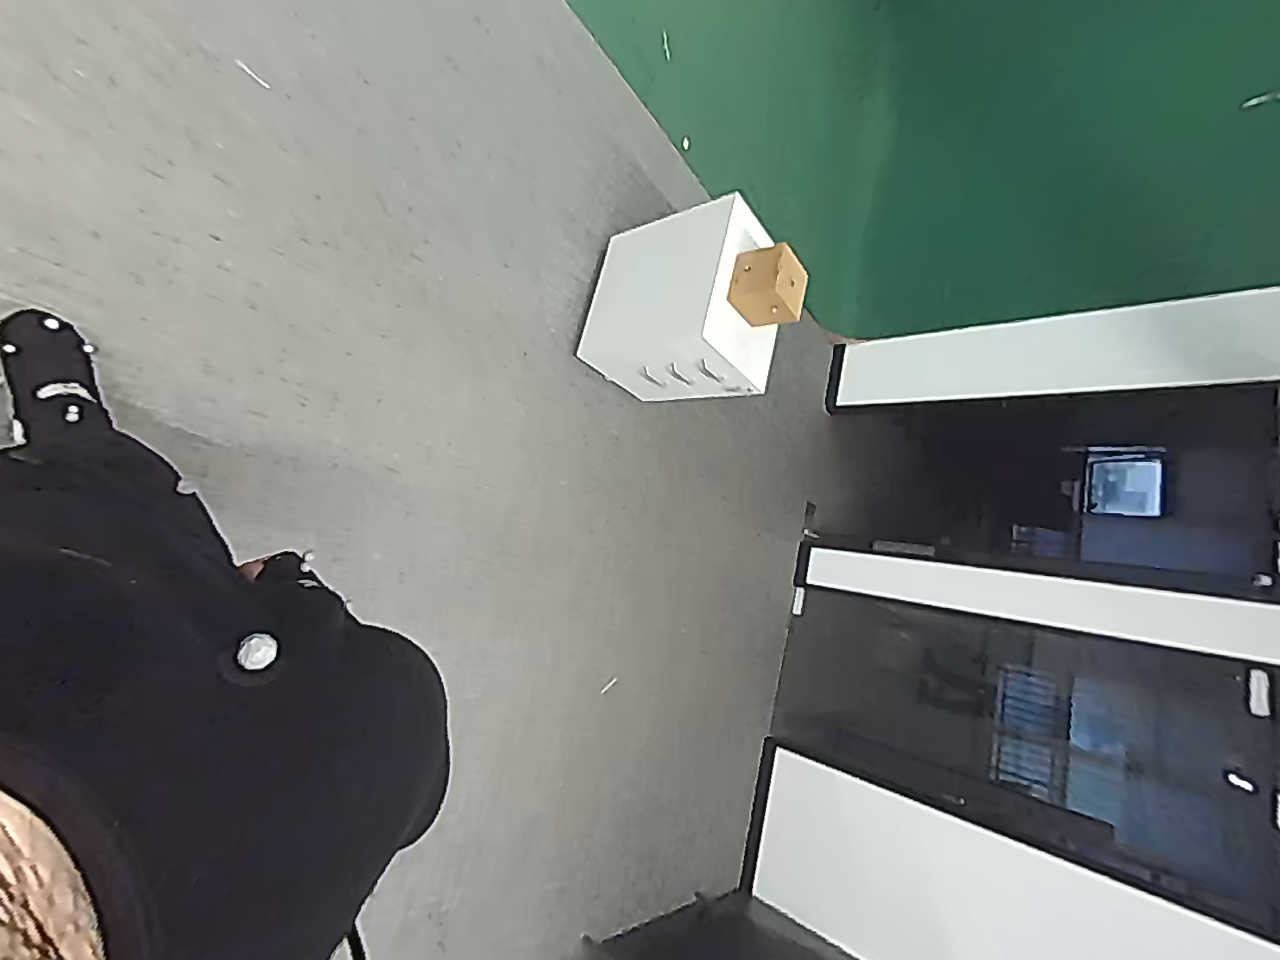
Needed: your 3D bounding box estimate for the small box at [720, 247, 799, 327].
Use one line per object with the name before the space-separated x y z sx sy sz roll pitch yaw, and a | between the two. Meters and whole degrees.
small box | 0.375 -0.595 1.696 0.179 0.176 0.168 28 71 -47
